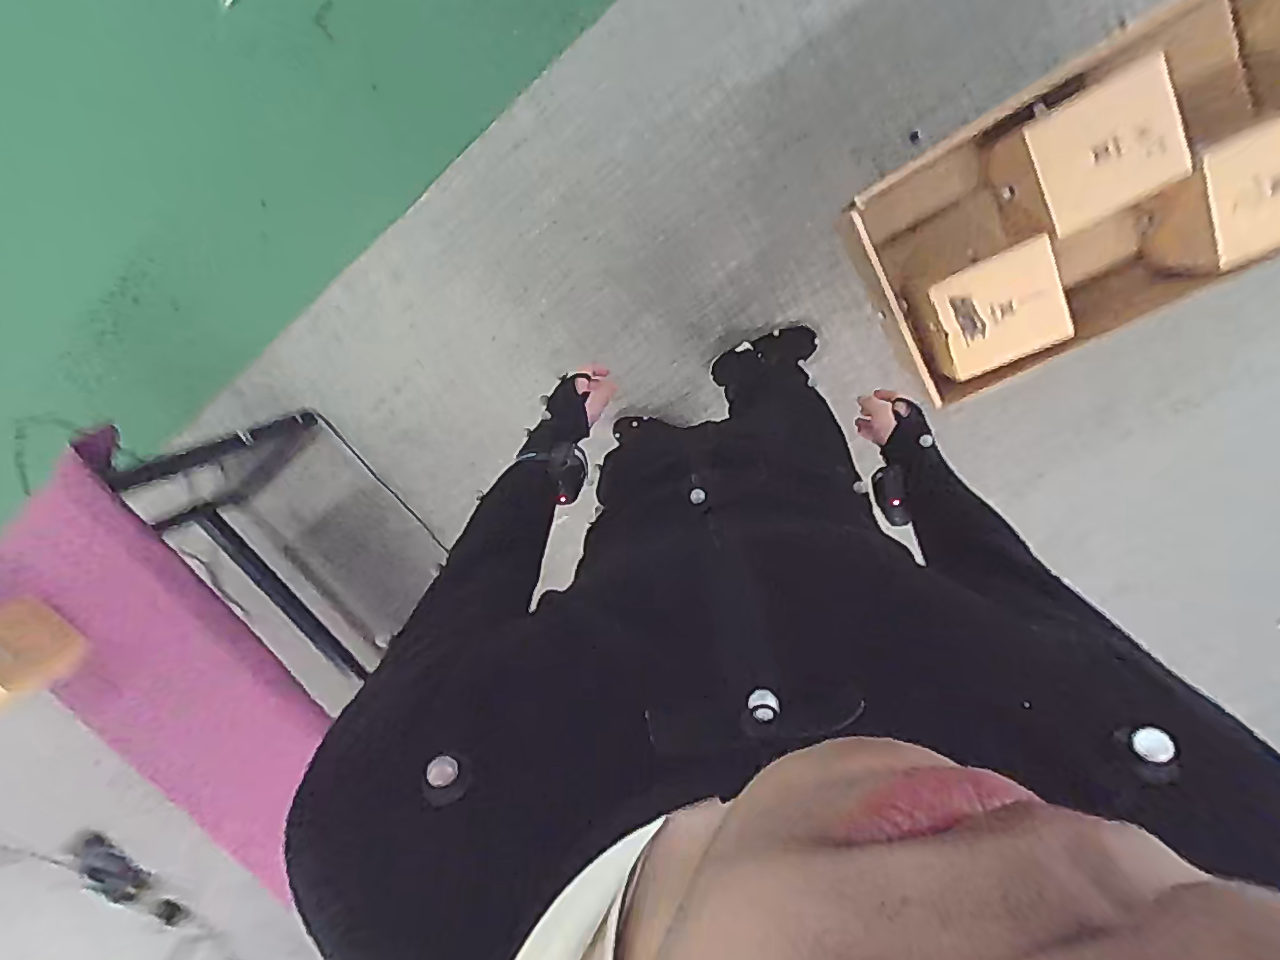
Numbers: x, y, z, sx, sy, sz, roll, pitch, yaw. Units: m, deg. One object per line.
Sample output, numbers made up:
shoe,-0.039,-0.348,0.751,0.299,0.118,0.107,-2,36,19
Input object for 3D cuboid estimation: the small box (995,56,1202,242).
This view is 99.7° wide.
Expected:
small box,0.678,-0.482,0.826,0.179,0.176,0.168,-25,105,19

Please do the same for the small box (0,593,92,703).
small box,-1.437,0.383,1.233,0.168,0.176,0.179,-36,101,20

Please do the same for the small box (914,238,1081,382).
small box,0.589,-0.286,0.918,0.179,0.176,0.168,-22,105,18
